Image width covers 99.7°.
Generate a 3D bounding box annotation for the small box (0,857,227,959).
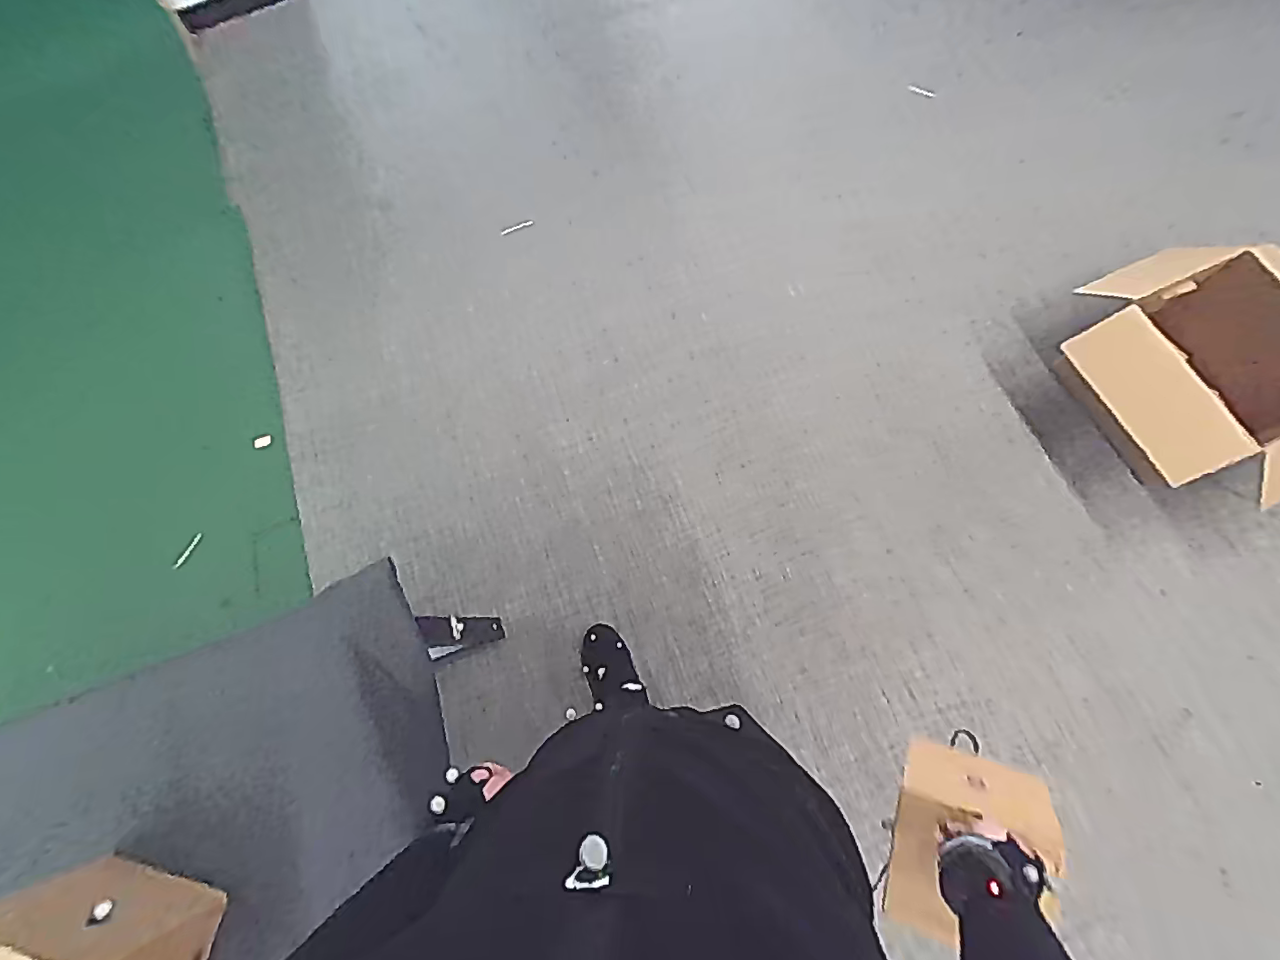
[{"bbox_3d":[-0.608,0.547,0.586,0.179,0.176,0.168,11,76,6],"label":"small box"}]
